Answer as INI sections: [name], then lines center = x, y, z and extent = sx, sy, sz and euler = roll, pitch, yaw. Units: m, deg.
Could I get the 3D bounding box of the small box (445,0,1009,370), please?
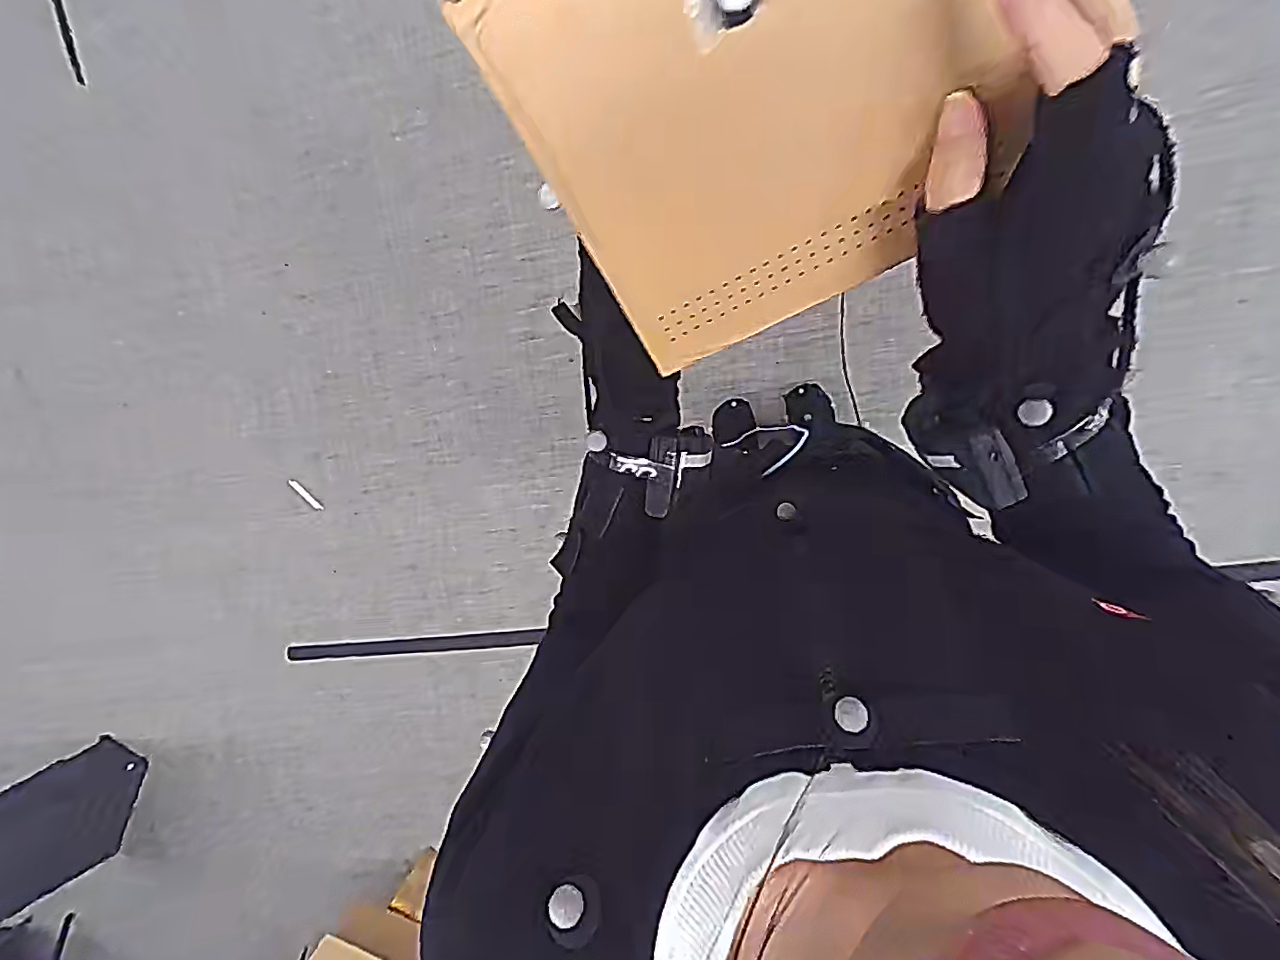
[small box]
center = 0.045, -0.184, 0.258
extent = 0.179, 0.168, 0.176
euler = -22, 134, 17
